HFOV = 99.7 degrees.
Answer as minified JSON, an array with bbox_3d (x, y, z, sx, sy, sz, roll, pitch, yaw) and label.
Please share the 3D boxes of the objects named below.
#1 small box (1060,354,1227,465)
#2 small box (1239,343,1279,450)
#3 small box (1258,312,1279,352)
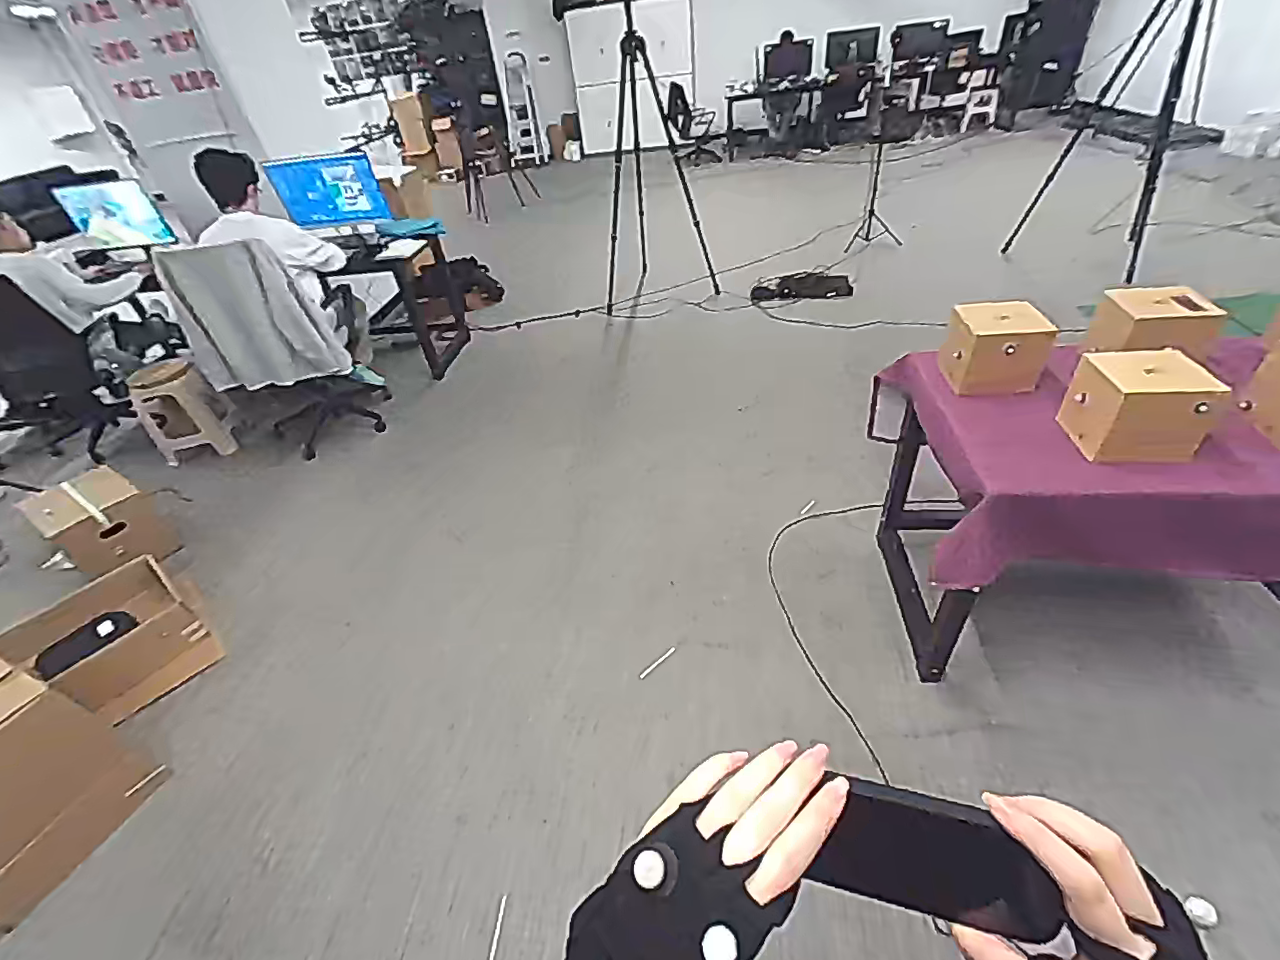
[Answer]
[{"bbox_3d":[1.006,-0.143,1.108,0.179,0.176,0.168,1,40,10],"label":"small box"},{"bbox_3d":[1.355,-0.160,1.062,0.179,0.176,0.168,2,40,11],"label":"small box"},{"bbox_3d":[1.613,-0.348,1.241,0.168,0.176,0.179,-3,40,8],"label":"small box"}]
